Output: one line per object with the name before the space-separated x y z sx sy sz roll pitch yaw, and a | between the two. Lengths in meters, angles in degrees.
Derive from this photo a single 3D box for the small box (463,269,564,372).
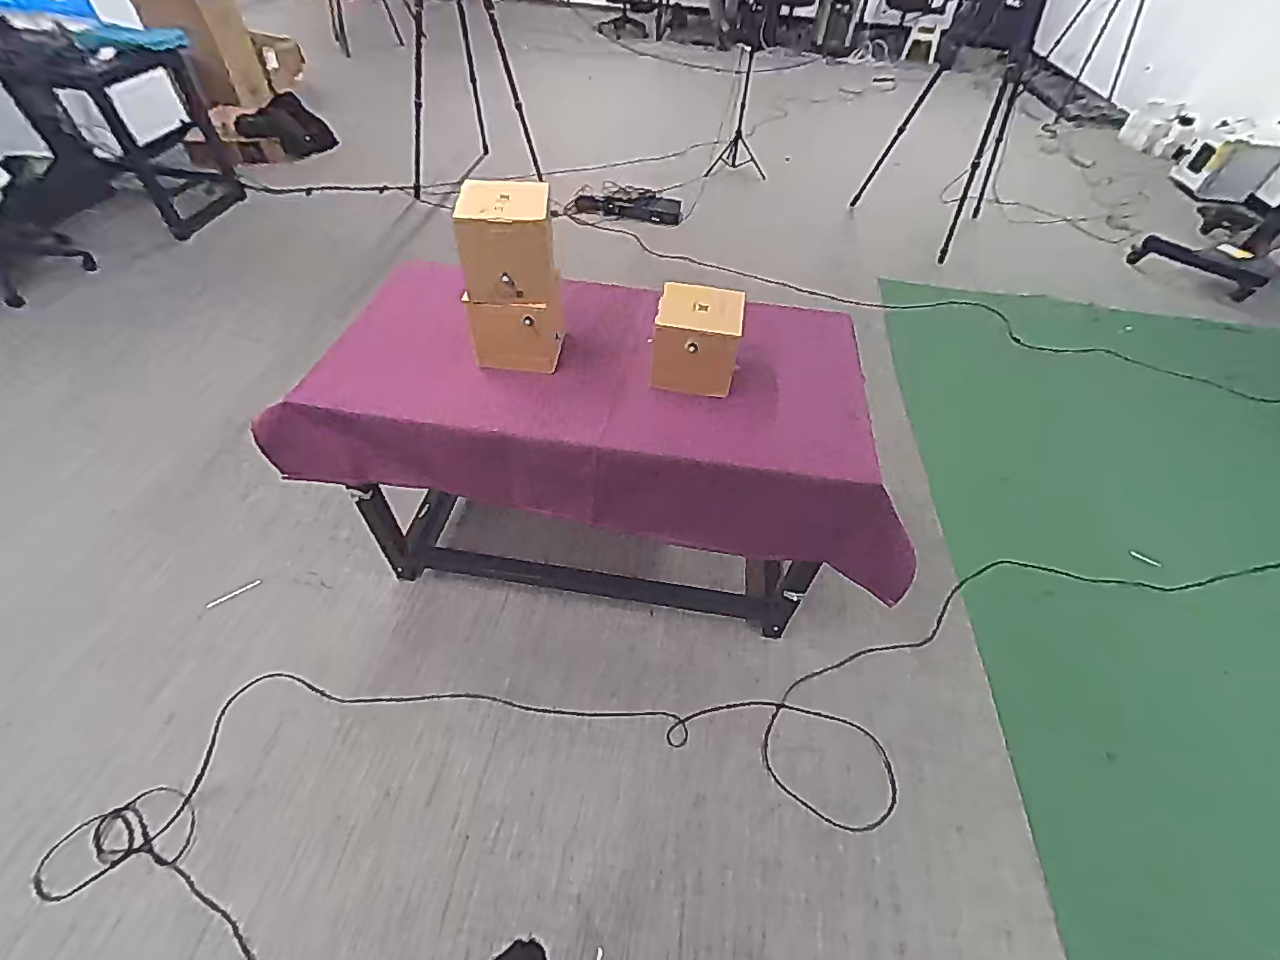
small box | -0.270 -0.357 1.198 0.179 0.176 0.168 6 49 -1

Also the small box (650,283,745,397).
small box | 0.122 -0.300 1.174 0.179 0.176 0.168 10 50 4

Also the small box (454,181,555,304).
small box | -0.260 -0.472 1.080 0.168 0.176 0.179 -1 50 -5
